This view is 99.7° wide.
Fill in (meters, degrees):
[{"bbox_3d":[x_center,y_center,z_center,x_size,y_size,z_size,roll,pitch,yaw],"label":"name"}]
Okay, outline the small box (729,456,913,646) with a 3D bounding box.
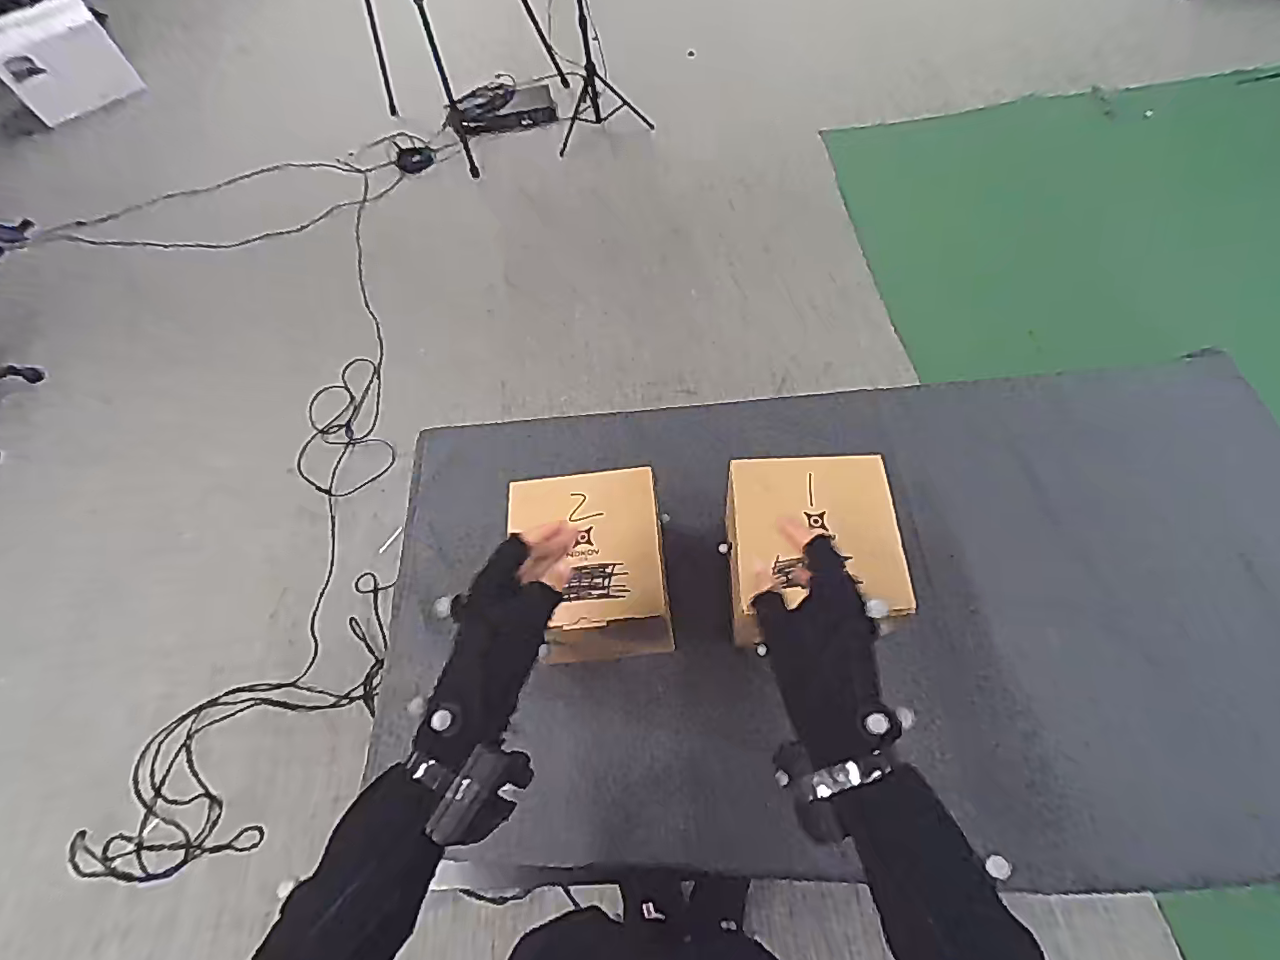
[{"bbox_3d":[0.191,0.091,0.629,0.168,0.176,0.179,-2,61,6],"label":"small box"}]
